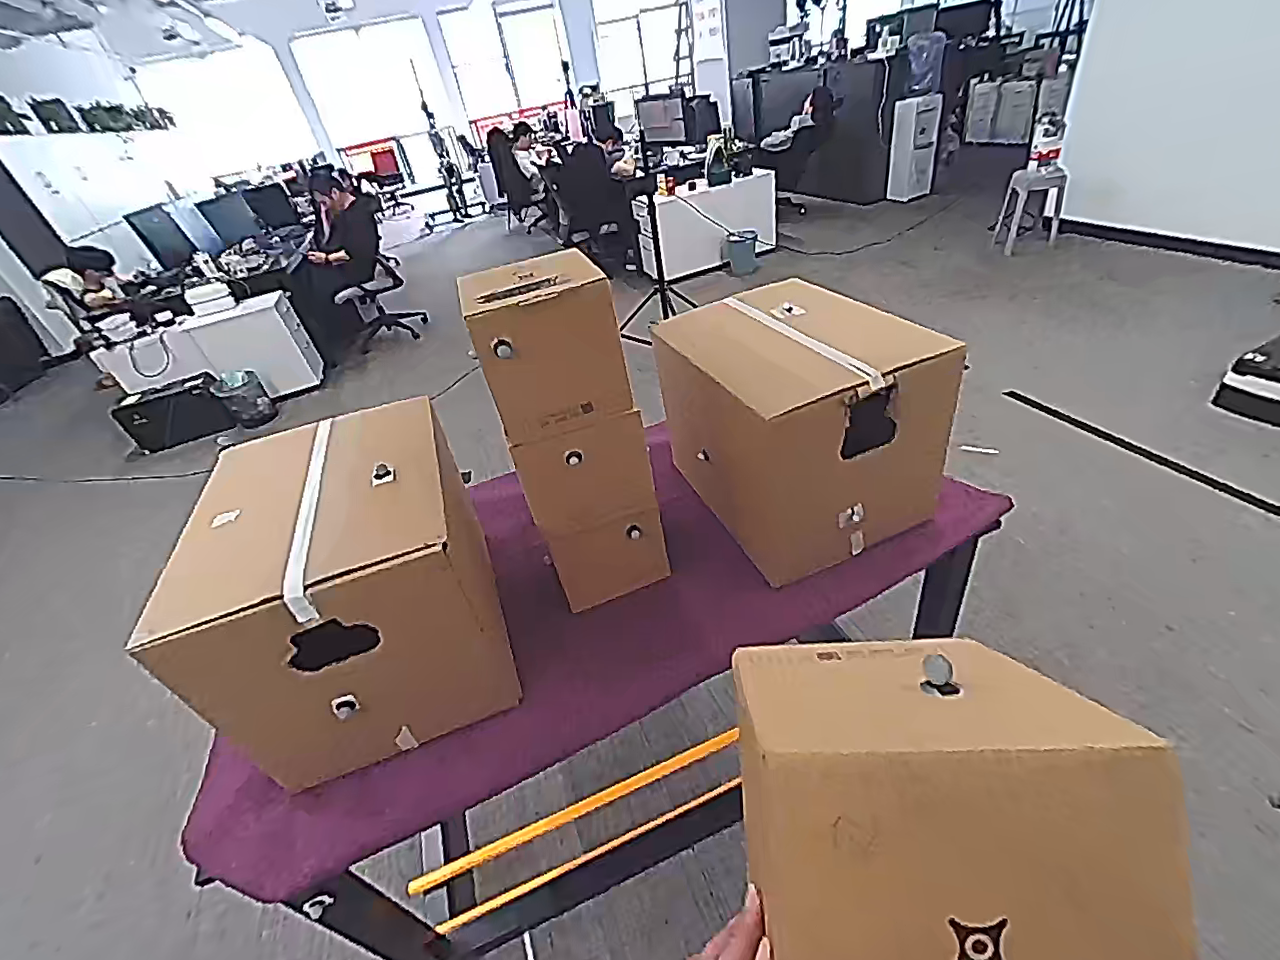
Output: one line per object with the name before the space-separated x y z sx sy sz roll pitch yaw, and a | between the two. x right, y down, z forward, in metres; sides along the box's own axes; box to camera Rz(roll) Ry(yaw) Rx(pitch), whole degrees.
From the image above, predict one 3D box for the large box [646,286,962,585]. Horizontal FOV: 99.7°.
large box | 0.249 -0.099 0.927 0.320 0.320 0.408 -20 36 -12
